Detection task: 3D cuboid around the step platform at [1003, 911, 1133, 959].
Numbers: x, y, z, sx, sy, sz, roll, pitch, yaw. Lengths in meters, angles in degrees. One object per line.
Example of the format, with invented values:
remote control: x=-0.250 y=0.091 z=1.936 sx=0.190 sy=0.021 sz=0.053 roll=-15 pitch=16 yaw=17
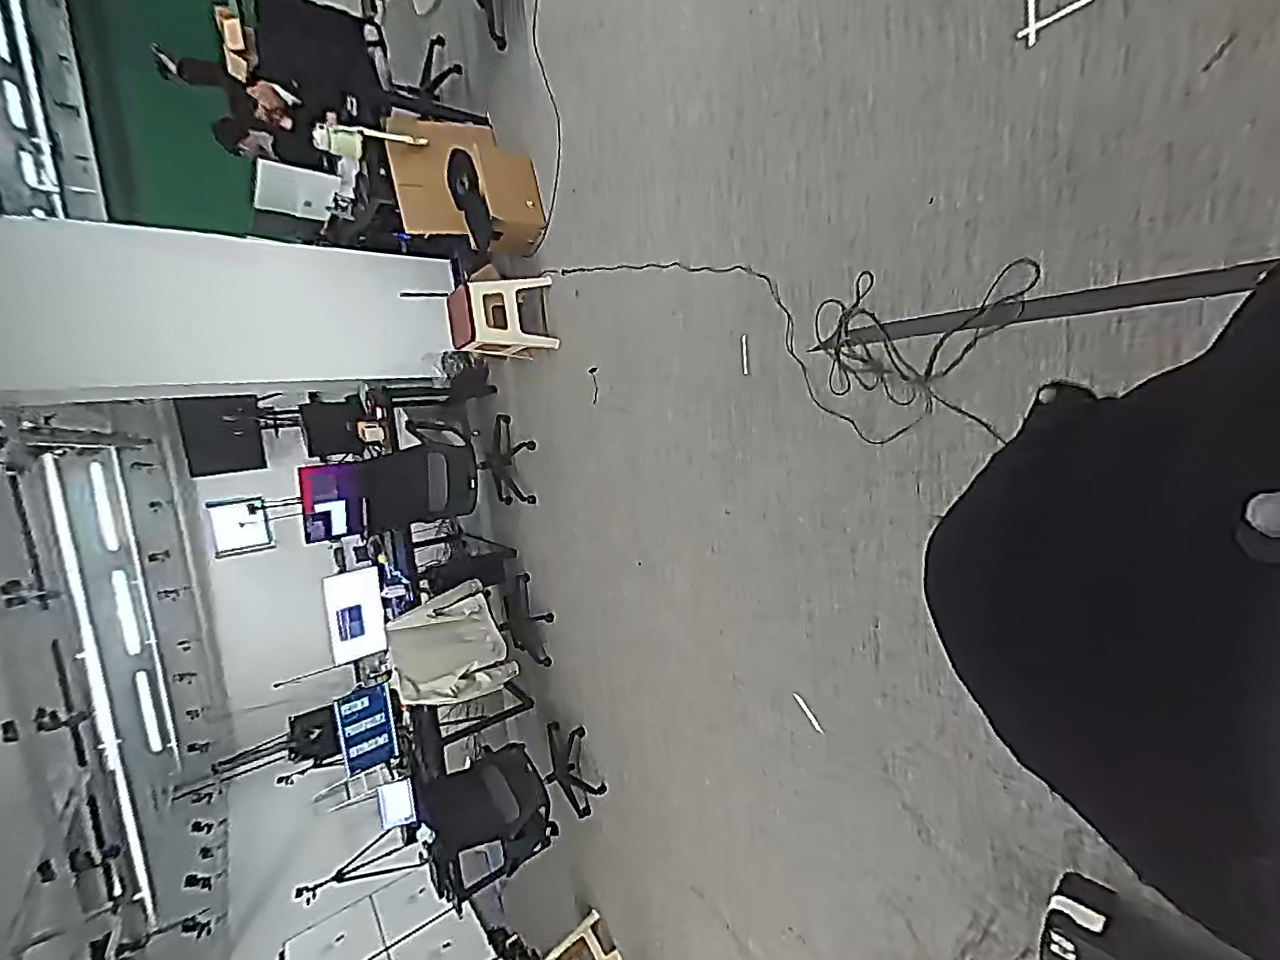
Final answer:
step platform: x=1.054 y=1.139 z=0.963 sx=0.684 sy=0.204 sz=0.286 roll=3 pitch=102 yaw=53
